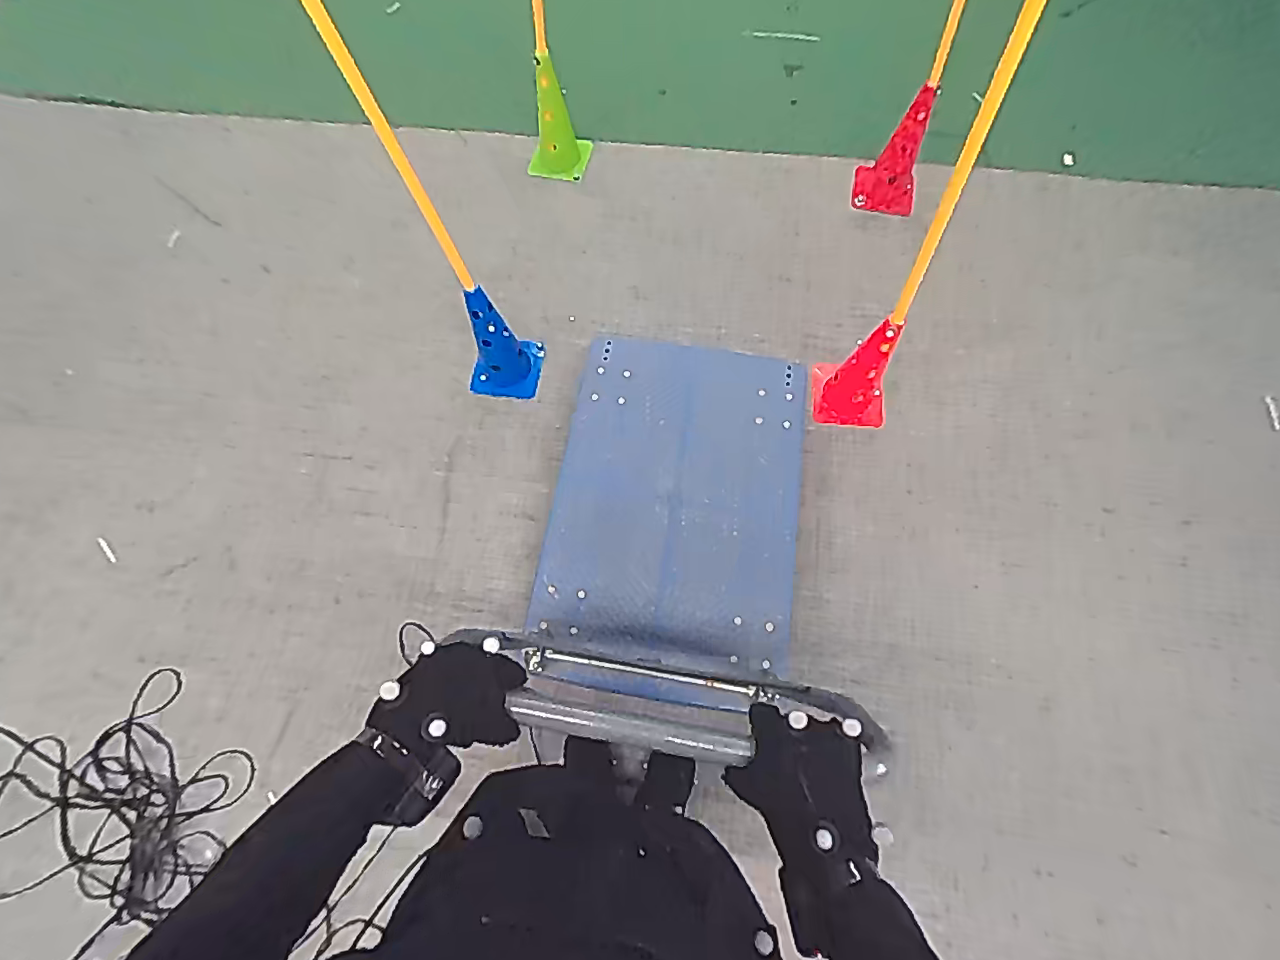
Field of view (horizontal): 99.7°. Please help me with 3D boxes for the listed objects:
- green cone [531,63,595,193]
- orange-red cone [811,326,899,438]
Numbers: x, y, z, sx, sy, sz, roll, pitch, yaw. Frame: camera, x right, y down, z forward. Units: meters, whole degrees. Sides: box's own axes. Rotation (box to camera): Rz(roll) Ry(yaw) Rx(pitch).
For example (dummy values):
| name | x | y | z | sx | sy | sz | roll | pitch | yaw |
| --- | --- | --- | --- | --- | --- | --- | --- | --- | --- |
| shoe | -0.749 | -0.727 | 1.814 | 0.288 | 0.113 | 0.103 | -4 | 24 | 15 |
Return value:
| name | x | y | z | sx | sy | sz | roll | pitch | yaw |
| --- | --- | --- | --- | --- | --- | --- | --- | --- | --- |
| green cone | -0.285 | -1.187 | 1.807 | 0.202 | 0.368 | 0.200 | 11 | 69 | 6 |
| orange-red cone | 0.596 | -0.280 | 1.431 | 0.199 | 0.360 | 0.198 | 6 | 68 | 5 |
